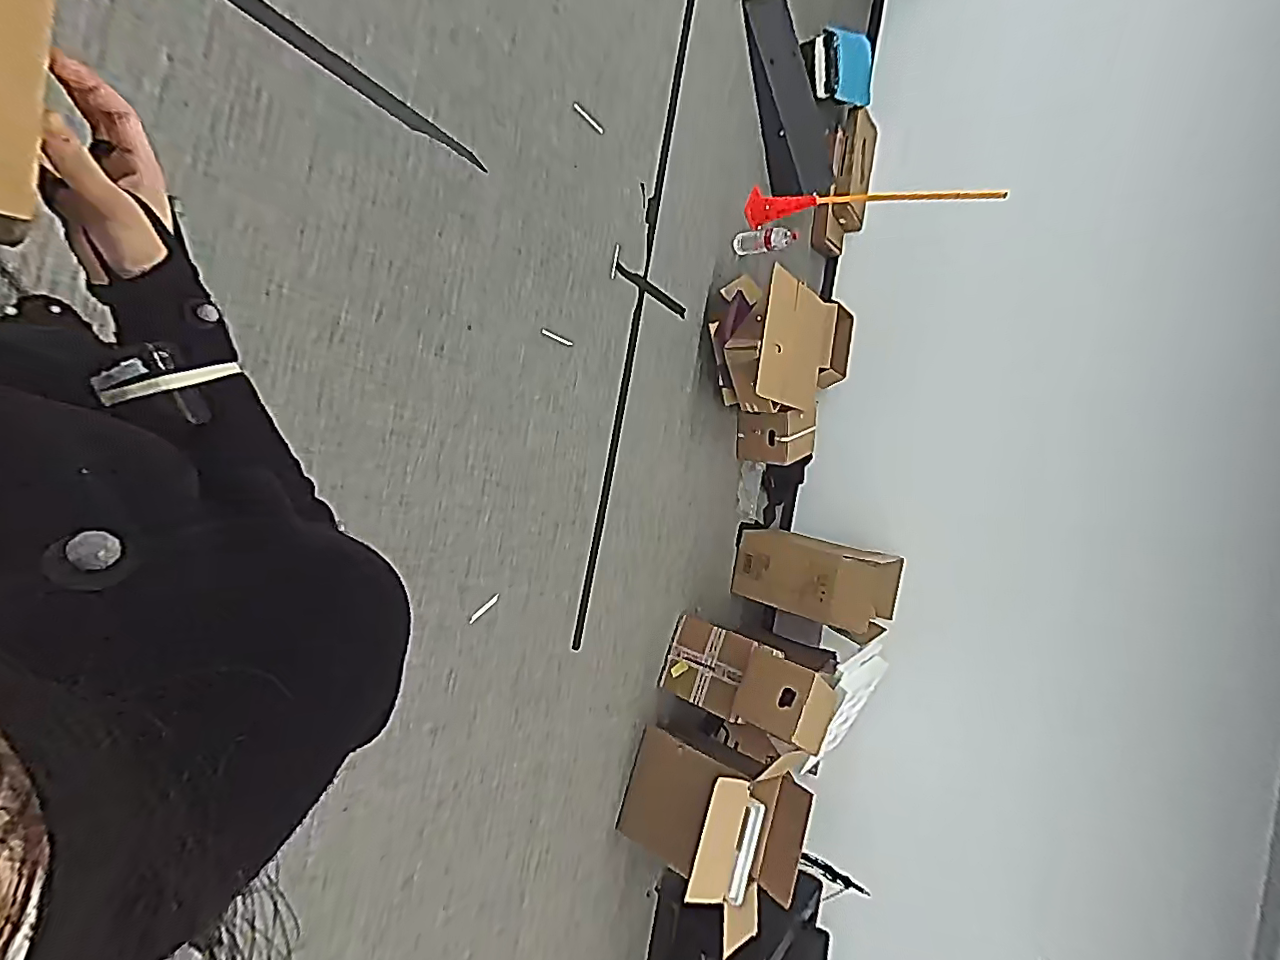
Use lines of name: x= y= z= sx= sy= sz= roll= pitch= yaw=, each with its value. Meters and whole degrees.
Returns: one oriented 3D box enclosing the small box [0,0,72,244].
small box: x=-0.394 y=-0.230 z=0.253 sx=0.168 sy=0.176 sz=0.179 roll=5 pitch=96 yaw=-52
